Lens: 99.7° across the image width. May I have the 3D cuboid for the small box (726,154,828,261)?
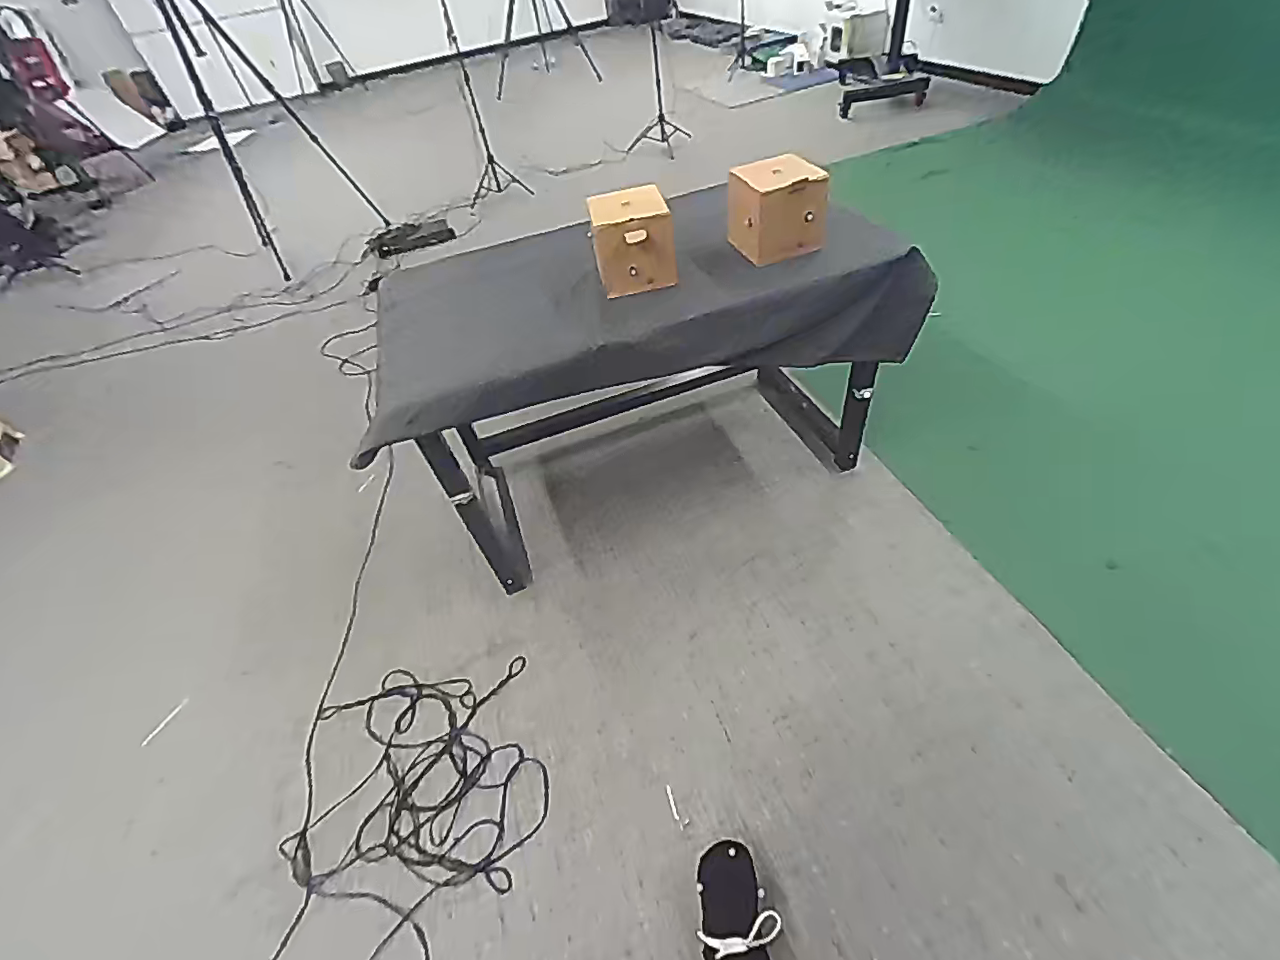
[{"bbox_3d":[0.310,-0.625,1.250,0.168,0.176,0.179,-18,45,-8],"label":"small box"}]

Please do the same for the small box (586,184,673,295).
[{"bbox_3d":[-0.023,-0.549,1.237,0.168,0.176,0.179,-12,47,-2],"label":"small box"}]
